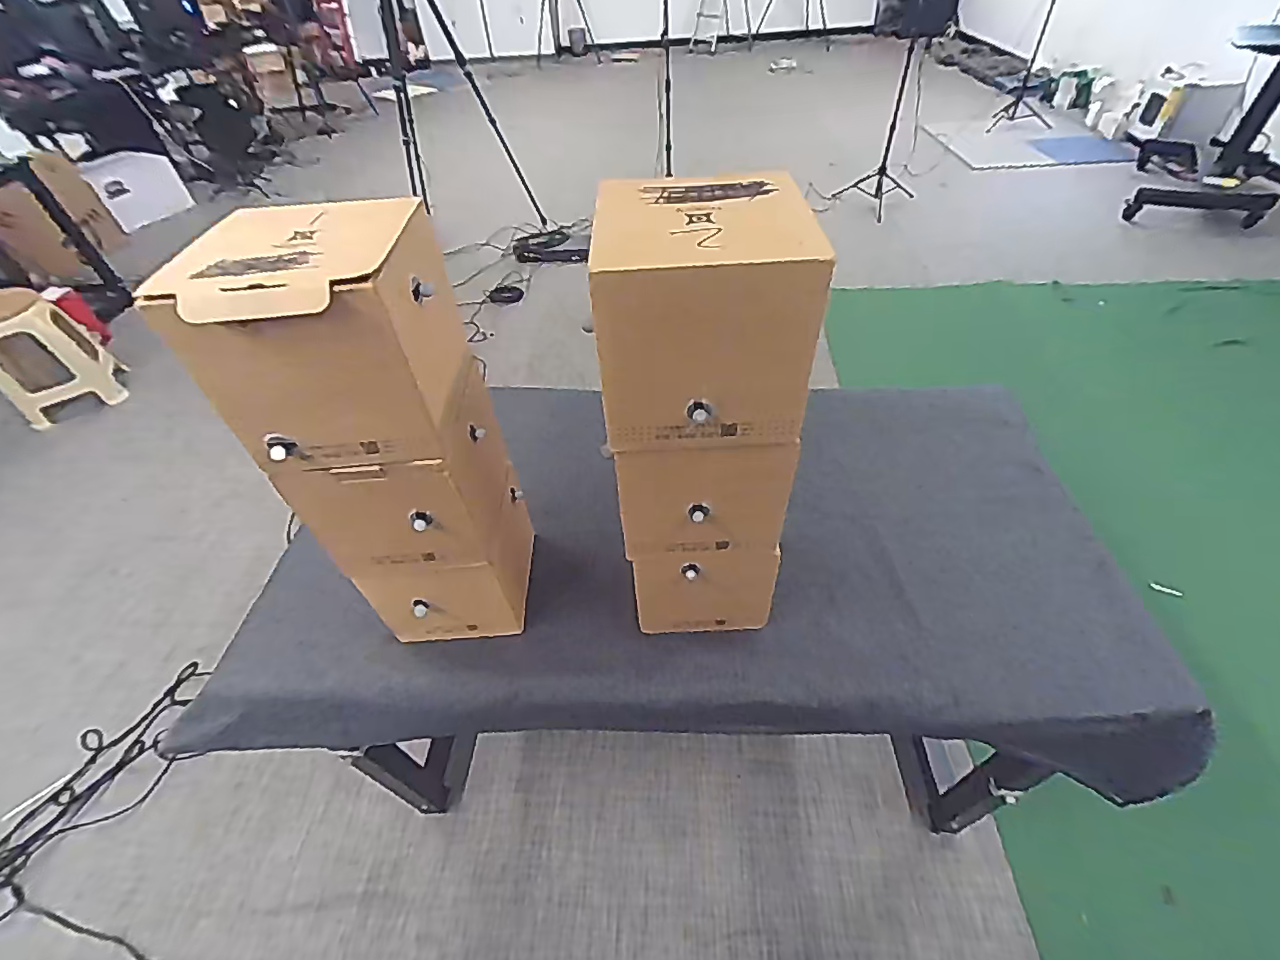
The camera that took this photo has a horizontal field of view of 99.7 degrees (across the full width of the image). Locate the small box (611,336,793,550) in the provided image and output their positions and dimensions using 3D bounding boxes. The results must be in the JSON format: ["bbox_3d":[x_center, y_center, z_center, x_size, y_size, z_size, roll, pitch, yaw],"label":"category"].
[{"bbox_3d":[0.059,-0.035,0.593,0.168,0.176,0.179,-2,46,1],"label":"small box"}]

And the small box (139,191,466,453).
[{"bbox_3d":[-0.265,-0.136,0.484,0.168,0.176,0.179,-4,45,-3],"label":"small box"}]

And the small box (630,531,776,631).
[{"bbox_3d":[0.073,0.078,0.713,0.168,0.176,0.179,-3,45,1],"label":"small box"}]

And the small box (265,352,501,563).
[{"bbox_3d":[-0.260,-0.020,0.601,0.168,0.176,0.179,-3,45,-2],"label":"small box"}]

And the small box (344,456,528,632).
[{"bbox_3d":[-0.251,0.091,0.720,0.168,0.176,0.179,-4,46,0],"label":"small box"}]
